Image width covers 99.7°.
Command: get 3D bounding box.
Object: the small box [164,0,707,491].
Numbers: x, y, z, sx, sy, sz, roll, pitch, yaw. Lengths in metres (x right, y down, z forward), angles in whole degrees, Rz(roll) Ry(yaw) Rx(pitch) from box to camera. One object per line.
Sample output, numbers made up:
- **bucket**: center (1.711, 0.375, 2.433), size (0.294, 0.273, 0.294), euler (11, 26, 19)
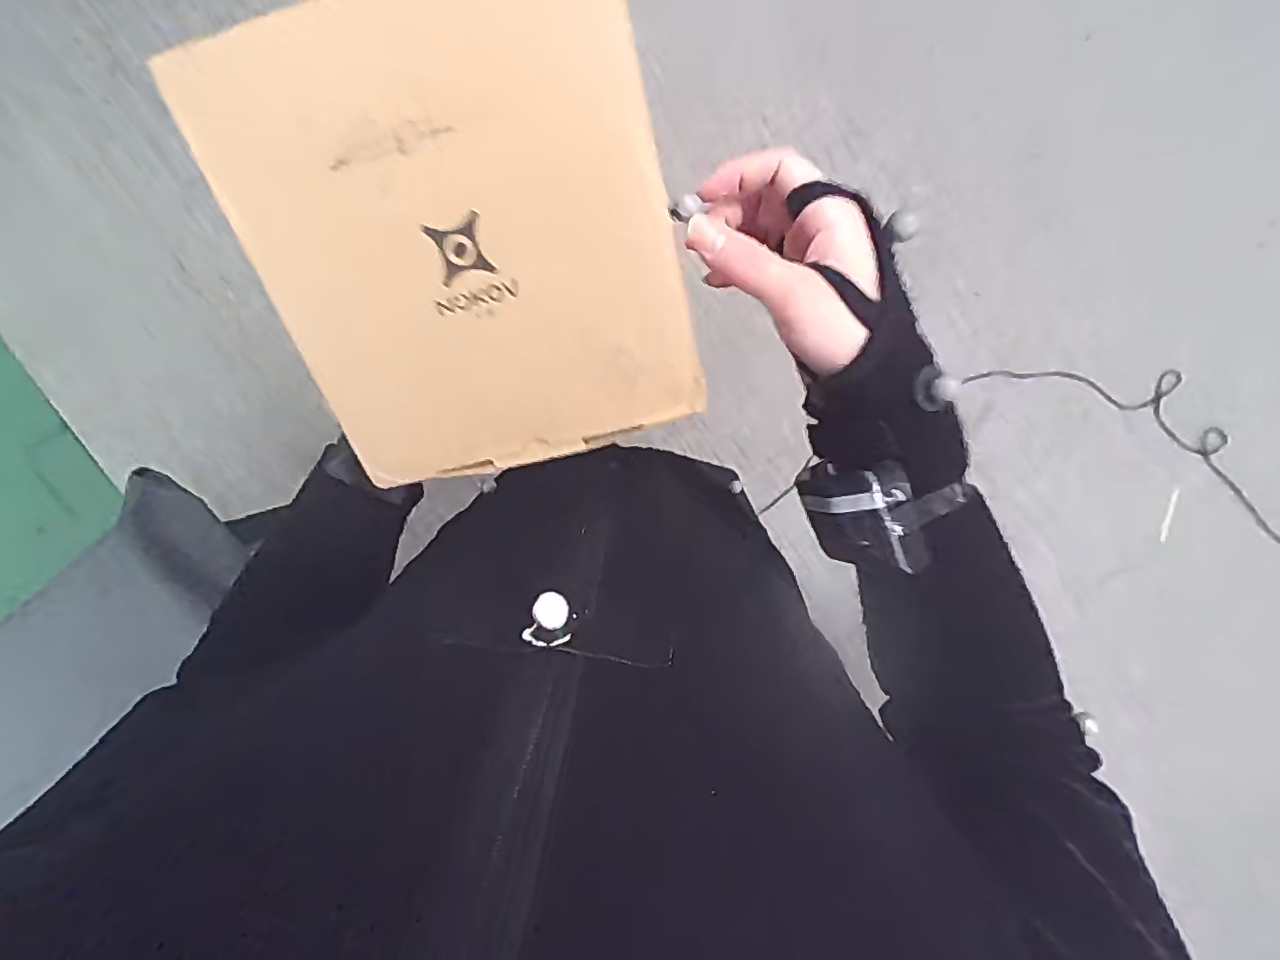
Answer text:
- **small box**: center (-0.066, -0.121, 0.286), size (0.168, 0.176, 0.179), euler (-14, 115, 7)
